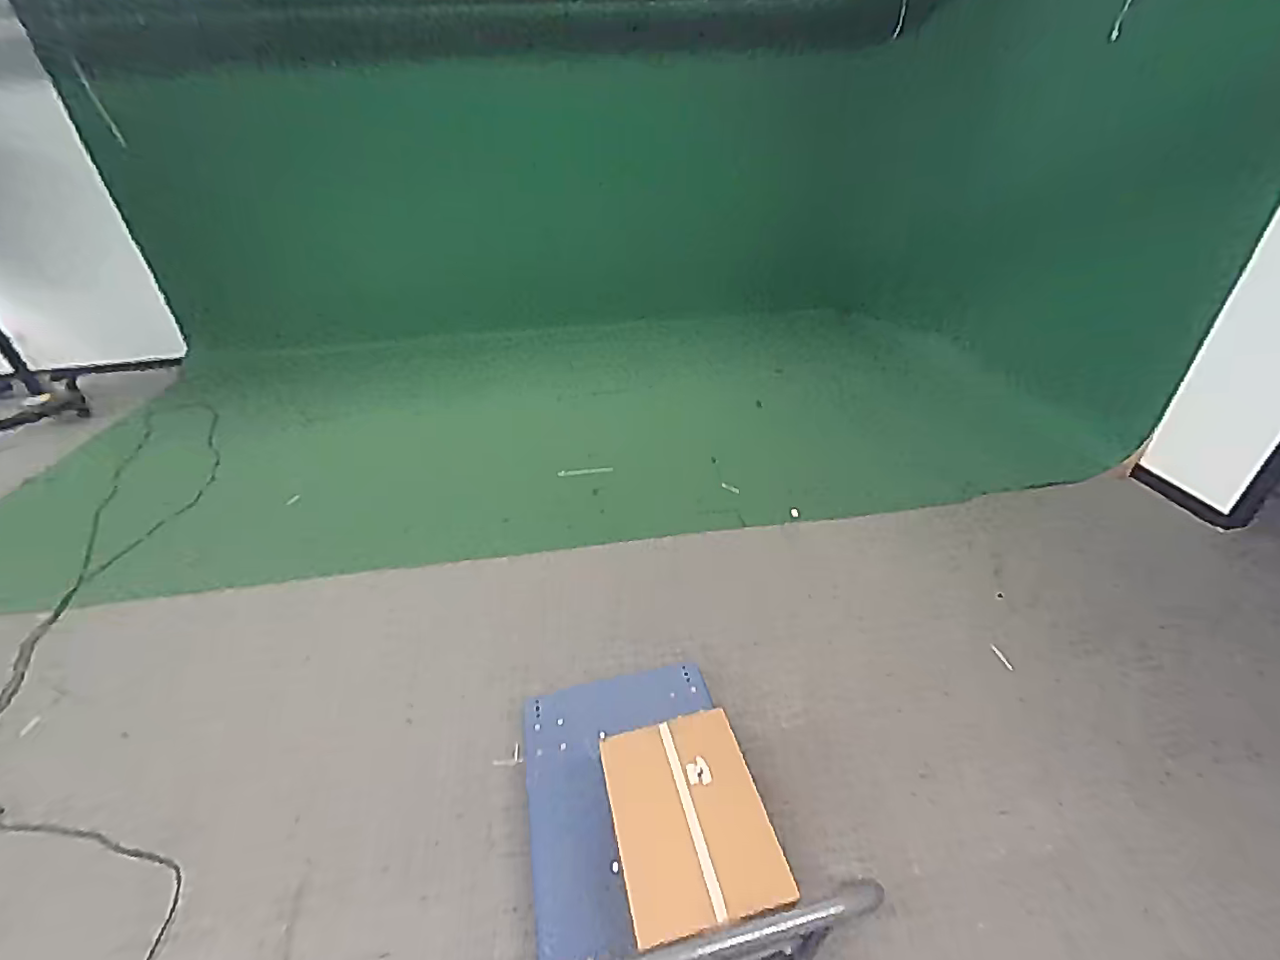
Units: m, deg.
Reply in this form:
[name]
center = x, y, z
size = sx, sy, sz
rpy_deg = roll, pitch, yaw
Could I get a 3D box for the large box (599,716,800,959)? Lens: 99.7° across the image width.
[large box]
center = 0.108, 0.825, 1.204
size = 0.320, 0.320, 0.408
rpy_deg = -9, 34, -11
